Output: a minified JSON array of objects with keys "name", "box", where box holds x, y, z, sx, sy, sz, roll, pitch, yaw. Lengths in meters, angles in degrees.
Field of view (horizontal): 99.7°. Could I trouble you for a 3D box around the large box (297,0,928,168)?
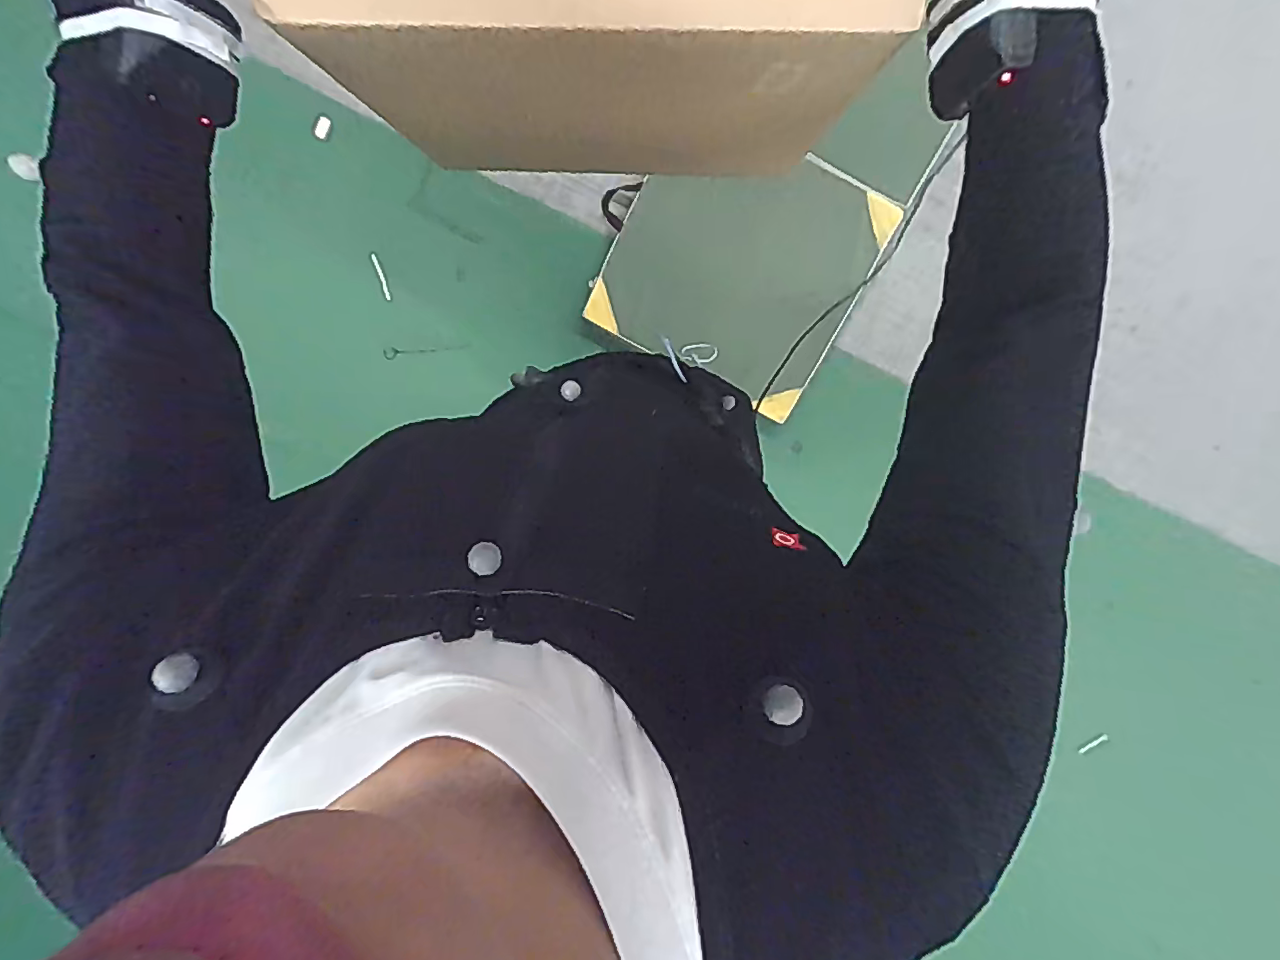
[{"name":"large box","box":[-0.019,-0.471,0.445,0.408,0.320,0.320,1,106,-1]}]
